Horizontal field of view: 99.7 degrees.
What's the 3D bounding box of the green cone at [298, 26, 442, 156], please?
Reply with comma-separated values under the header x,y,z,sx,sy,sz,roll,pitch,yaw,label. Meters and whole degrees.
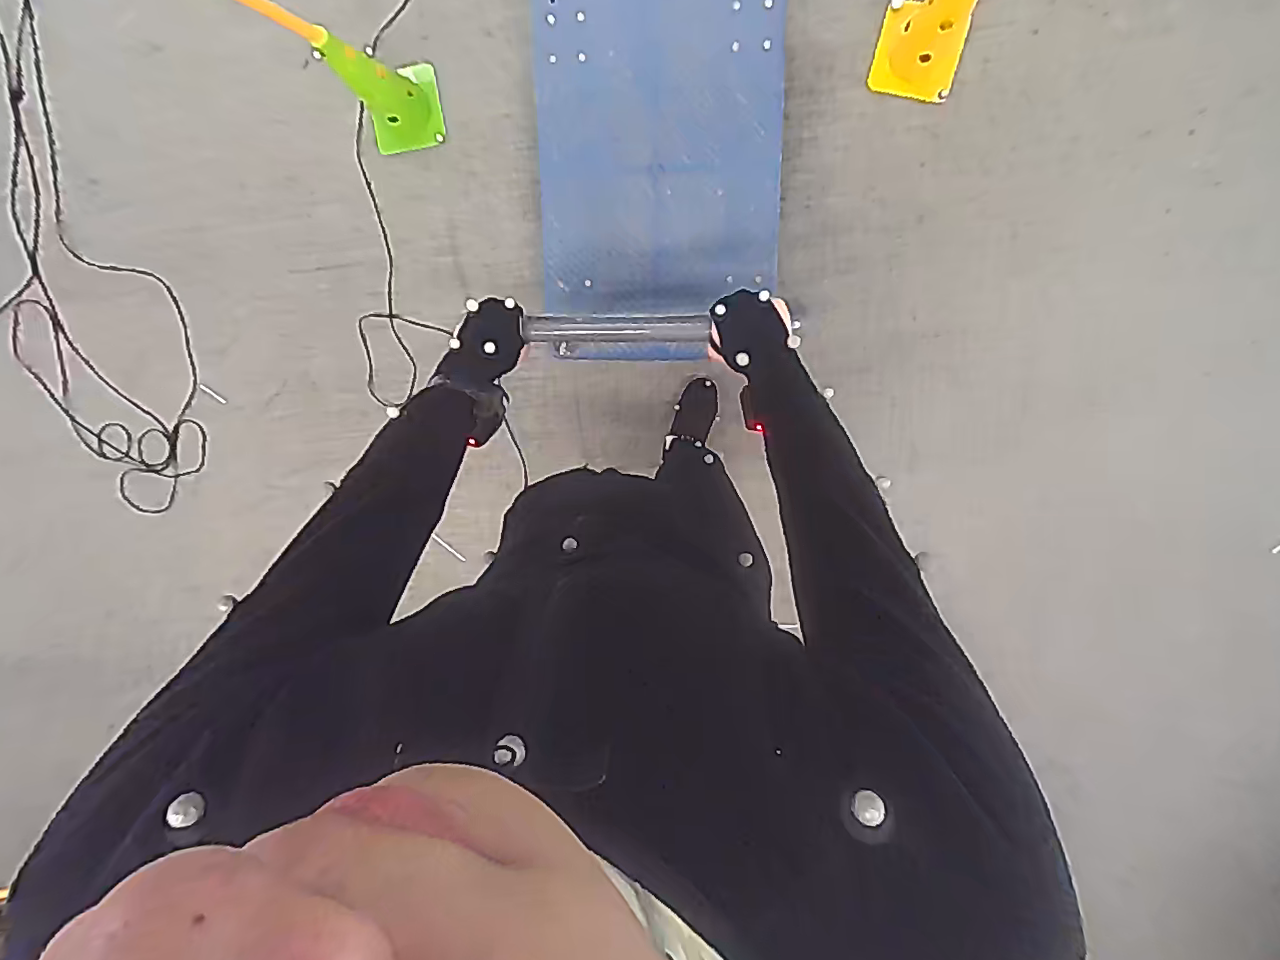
x,y,z,sx,sy,sz,roll,pitch,yaw,label
-0.667,-0.968,1.299,0.202,0.368,0.200,-7,101,9,green cone
